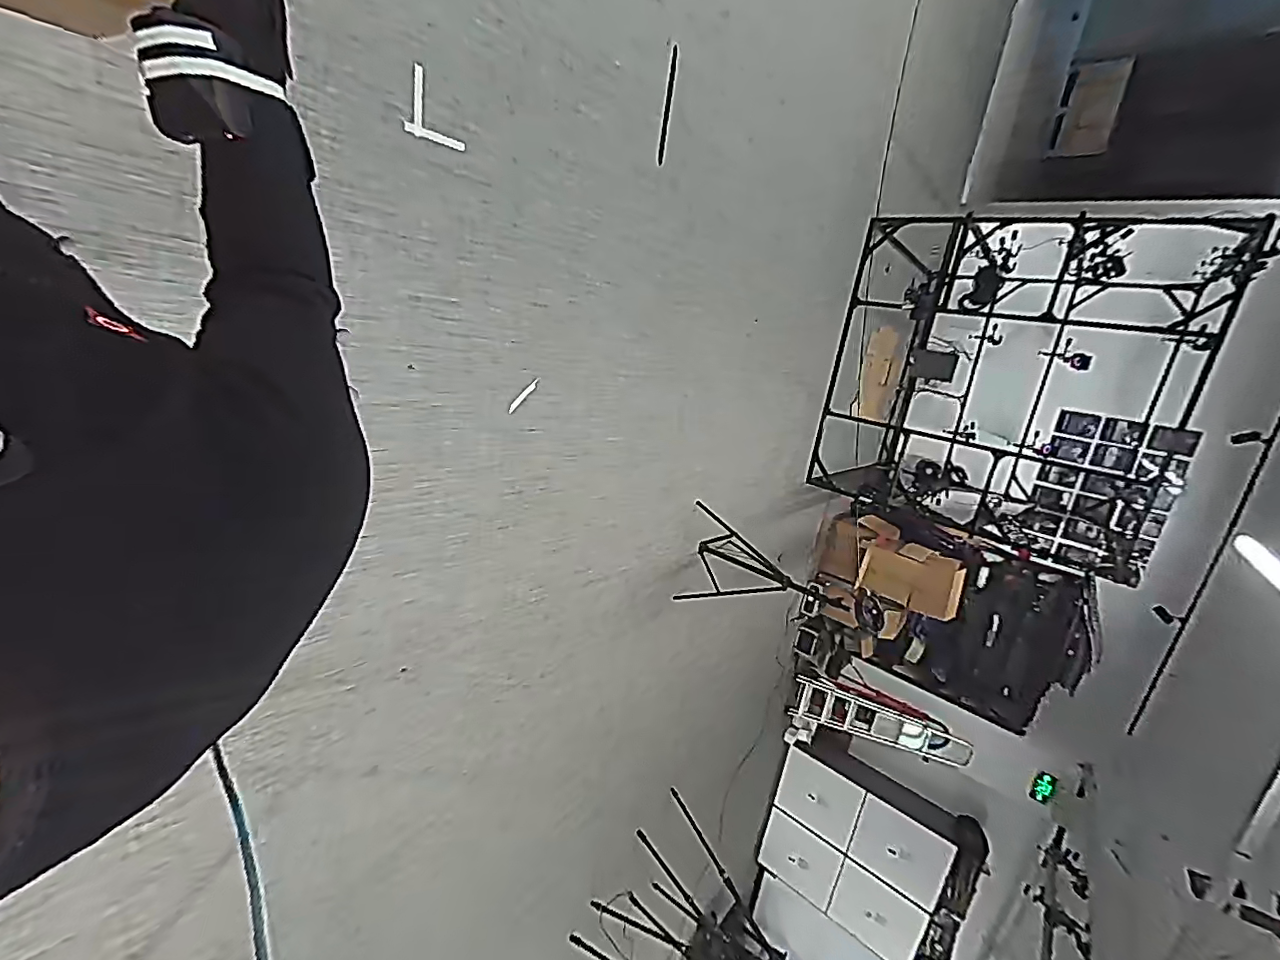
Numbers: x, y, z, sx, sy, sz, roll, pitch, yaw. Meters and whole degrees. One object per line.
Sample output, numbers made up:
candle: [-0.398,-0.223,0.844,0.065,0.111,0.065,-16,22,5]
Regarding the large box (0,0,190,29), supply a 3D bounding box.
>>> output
large box: [-0.522,-0.494,0.256,0.408,0.320,0.320,-14,125,-51]
